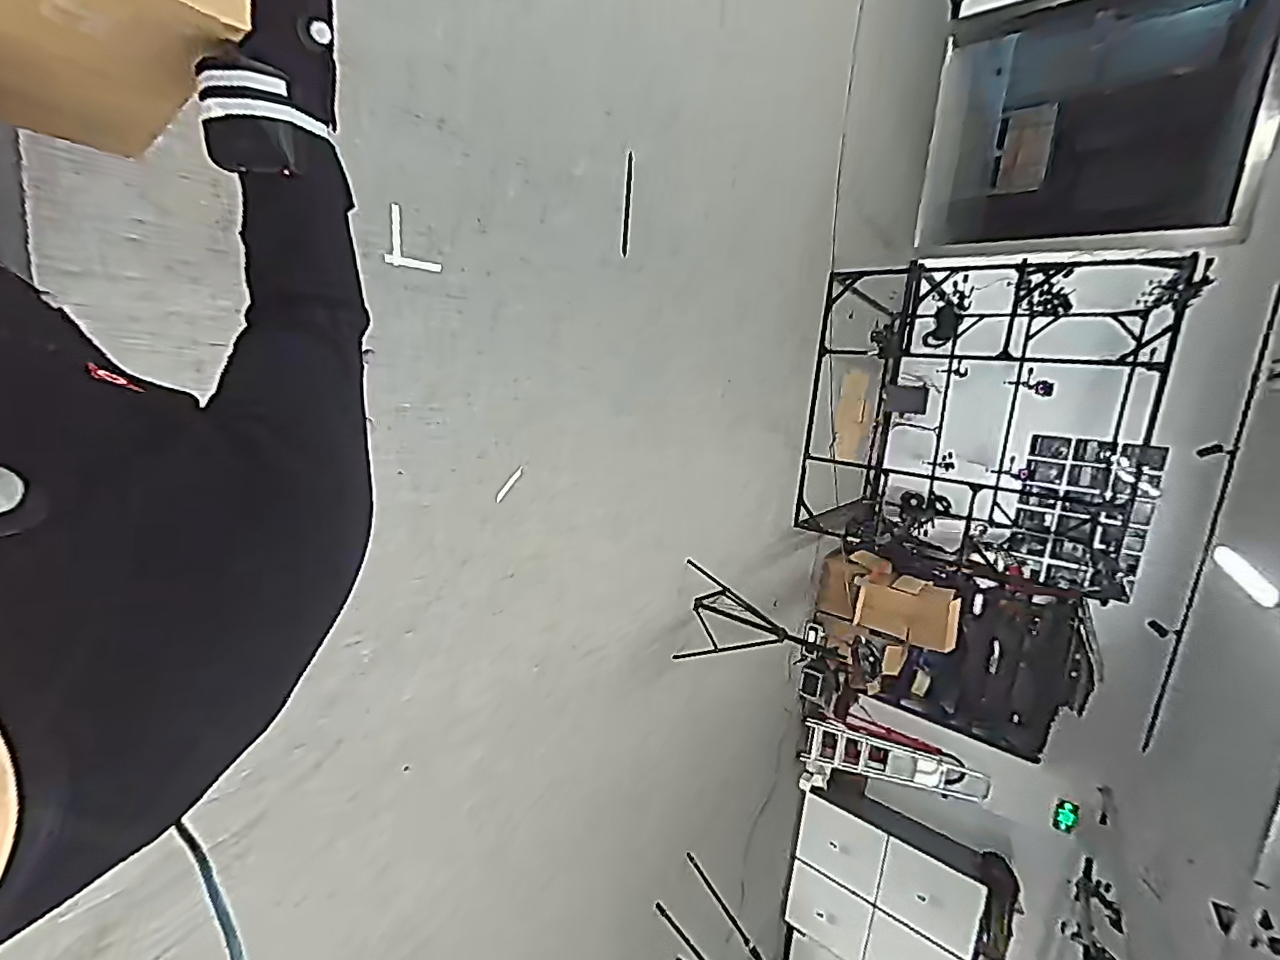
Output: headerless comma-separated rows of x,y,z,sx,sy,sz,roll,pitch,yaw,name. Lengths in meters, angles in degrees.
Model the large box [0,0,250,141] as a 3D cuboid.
-0.495,-0.446,0.270,0.408,0.320,0.320,-9,103,-52,large box
